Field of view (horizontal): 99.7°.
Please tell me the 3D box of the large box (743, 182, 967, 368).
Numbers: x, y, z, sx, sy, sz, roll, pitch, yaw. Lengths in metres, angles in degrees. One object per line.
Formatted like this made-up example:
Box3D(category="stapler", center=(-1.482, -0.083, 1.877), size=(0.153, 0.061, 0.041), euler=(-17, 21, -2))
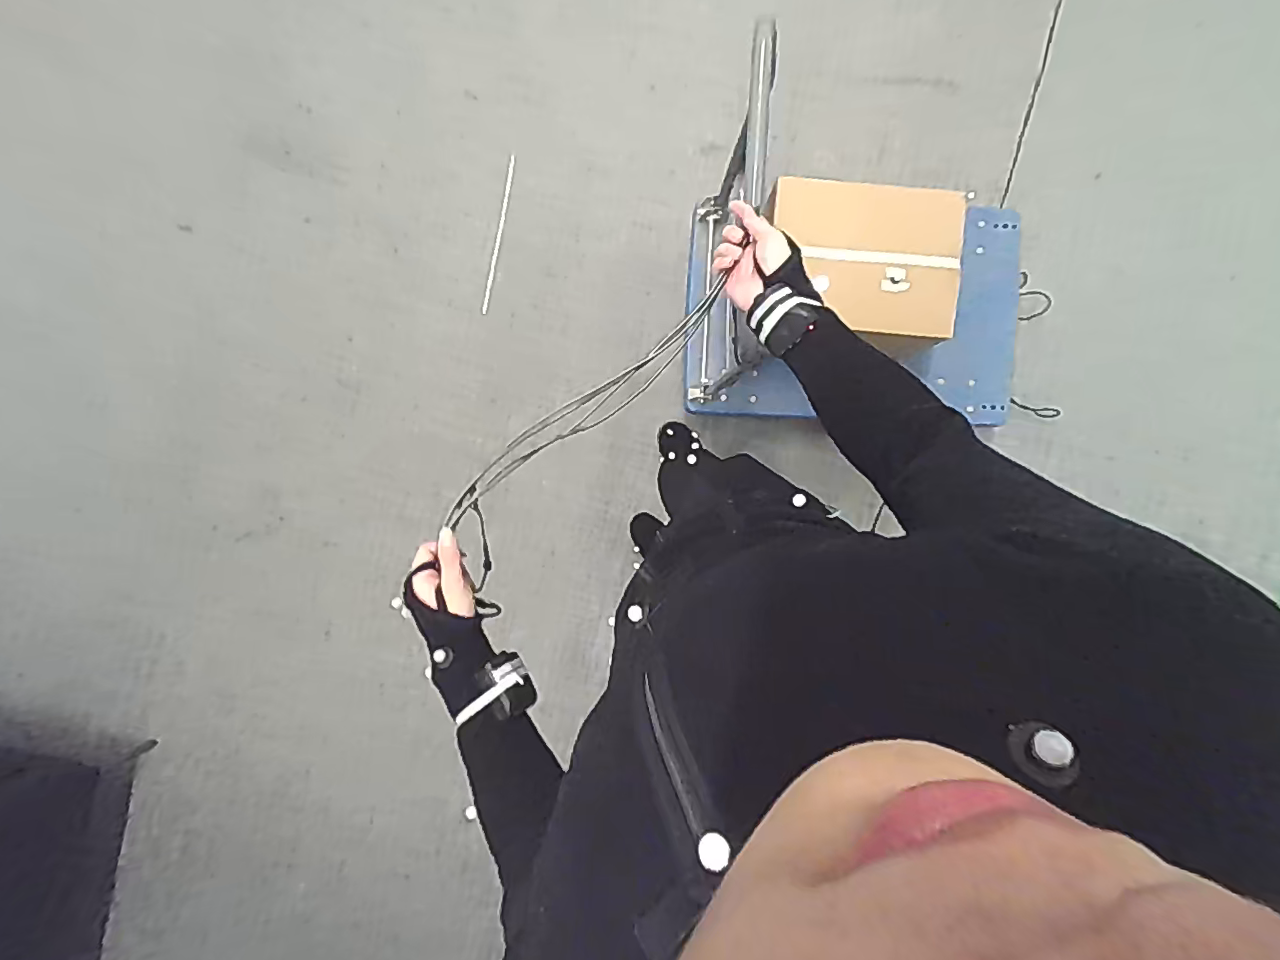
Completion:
Box3D(category="large box", center=(0.480, -0.463, 1.289), size=(0.408, 0.320, 0.320), euler=(6, 92, 0))
